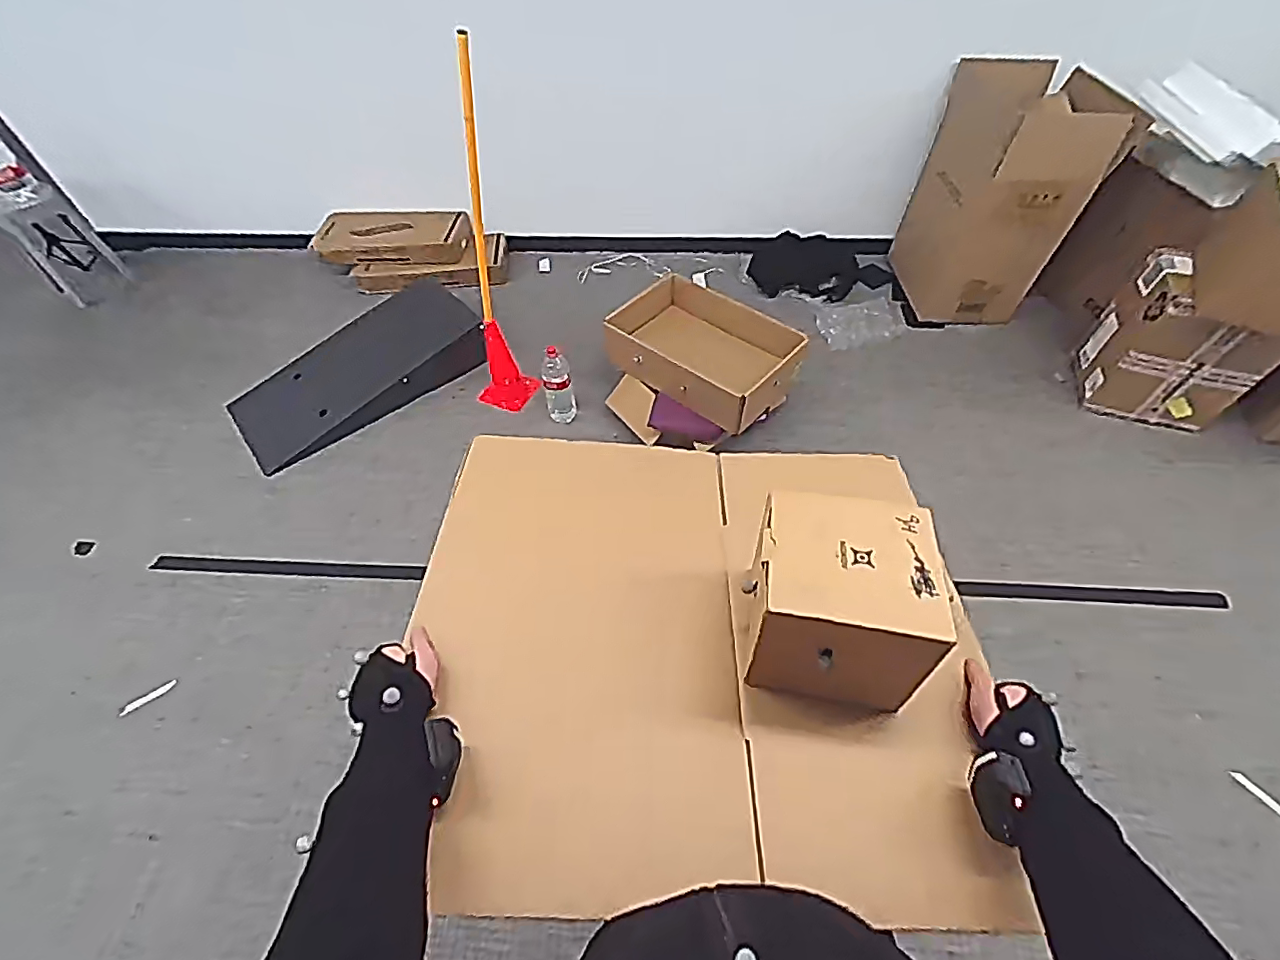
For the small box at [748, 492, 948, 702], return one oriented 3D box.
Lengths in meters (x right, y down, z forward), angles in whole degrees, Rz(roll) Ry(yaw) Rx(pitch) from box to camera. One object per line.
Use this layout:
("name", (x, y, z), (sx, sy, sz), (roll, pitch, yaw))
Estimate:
("small box", (0.222, 0.136, 0.627), (0.179, 0.176, 0.168), (7, 48, 9))
